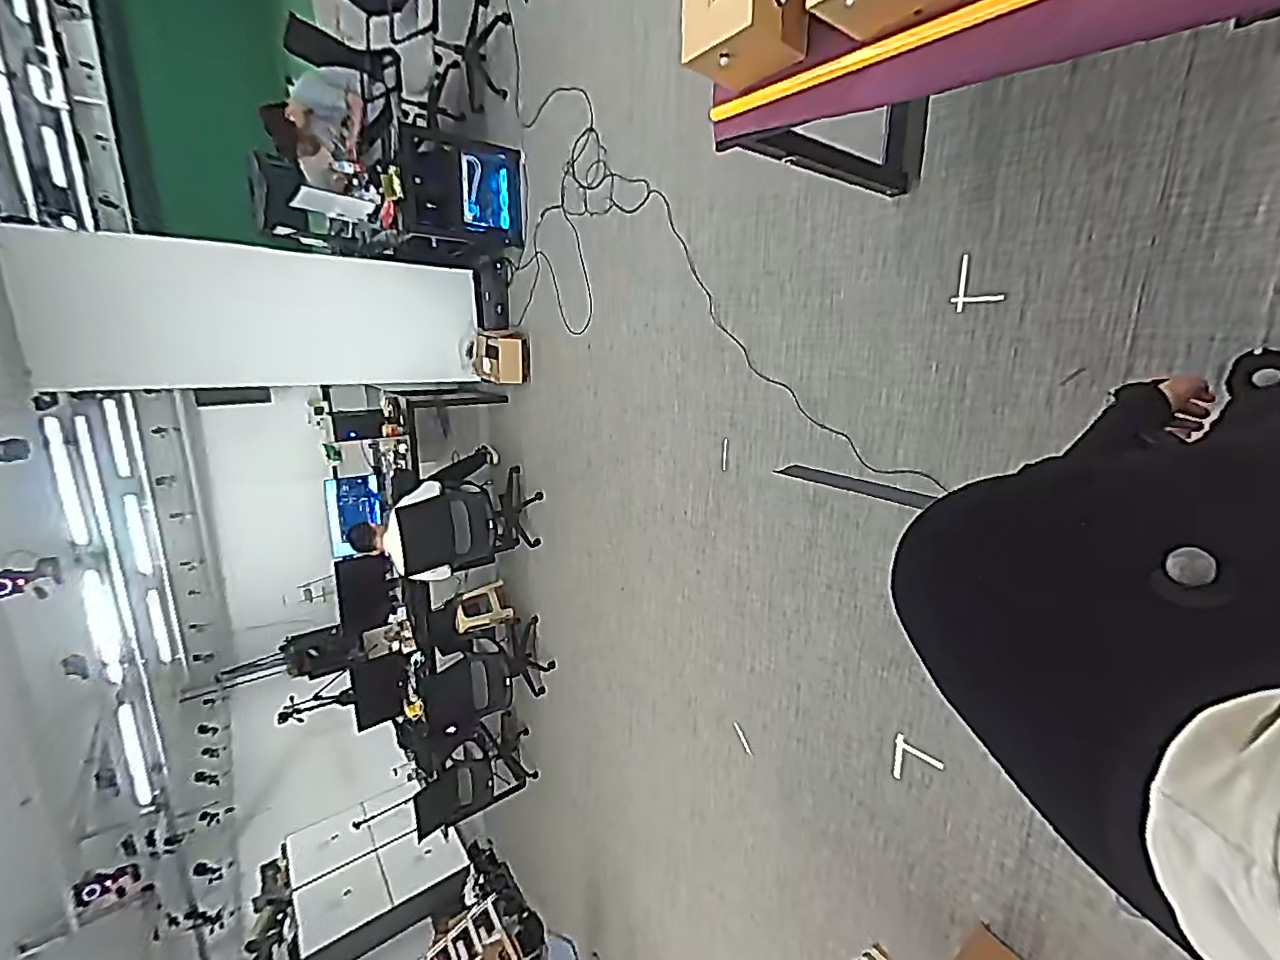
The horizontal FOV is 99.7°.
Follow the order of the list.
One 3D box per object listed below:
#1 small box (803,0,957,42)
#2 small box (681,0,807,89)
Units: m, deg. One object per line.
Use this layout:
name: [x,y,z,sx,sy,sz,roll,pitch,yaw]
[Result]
small box: [0.366,-0.798,0.791,0.168,0.176,0.179,20,113,52]
small box: [0.197,-0.867,1.003,0.179,0.176,0.168,18,112,50]
